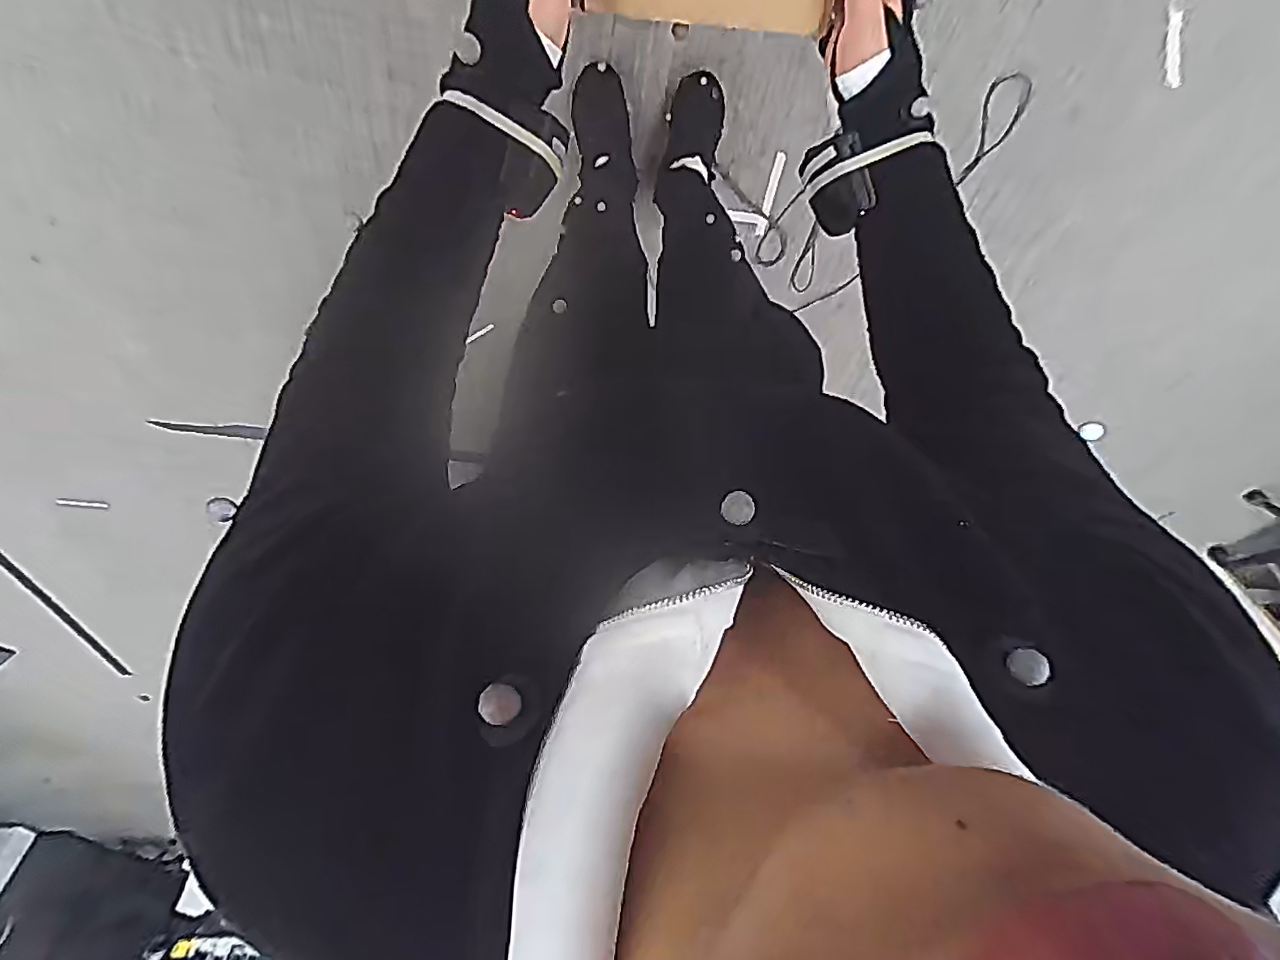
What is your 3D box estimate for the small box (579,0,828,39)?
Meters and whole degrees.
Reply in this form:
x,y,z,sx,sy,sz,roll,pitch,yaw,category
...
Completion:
x,y,z,sx,sy,sz,roll,pitch,yaw,category
0.047,-0.436,0.379,0.179,0.176,0.168,1,137,-6,small box
